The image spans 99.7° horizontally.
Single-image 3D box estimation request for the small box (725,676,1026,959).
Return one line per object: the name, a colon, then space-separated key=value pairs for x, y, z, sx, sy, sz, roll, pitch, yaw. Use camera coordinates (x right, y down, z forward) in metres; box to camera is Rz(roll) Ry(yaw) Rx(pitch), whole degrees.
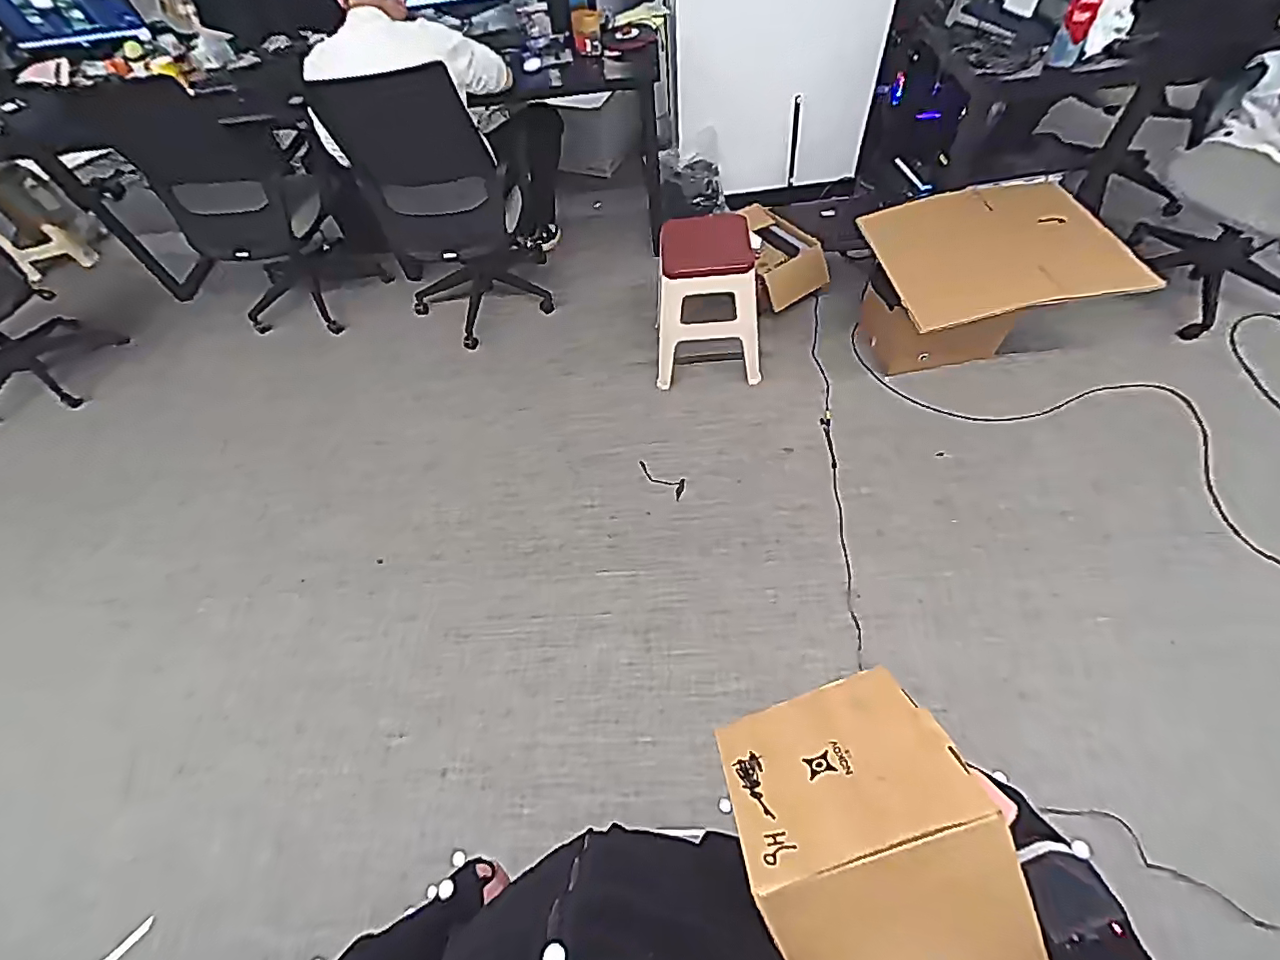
small box: x=0.194 y=0.312 z=0.469 sx=0.179 sy=0.176 sz=0.168 roll=-22 pitch=13 yaw=4
